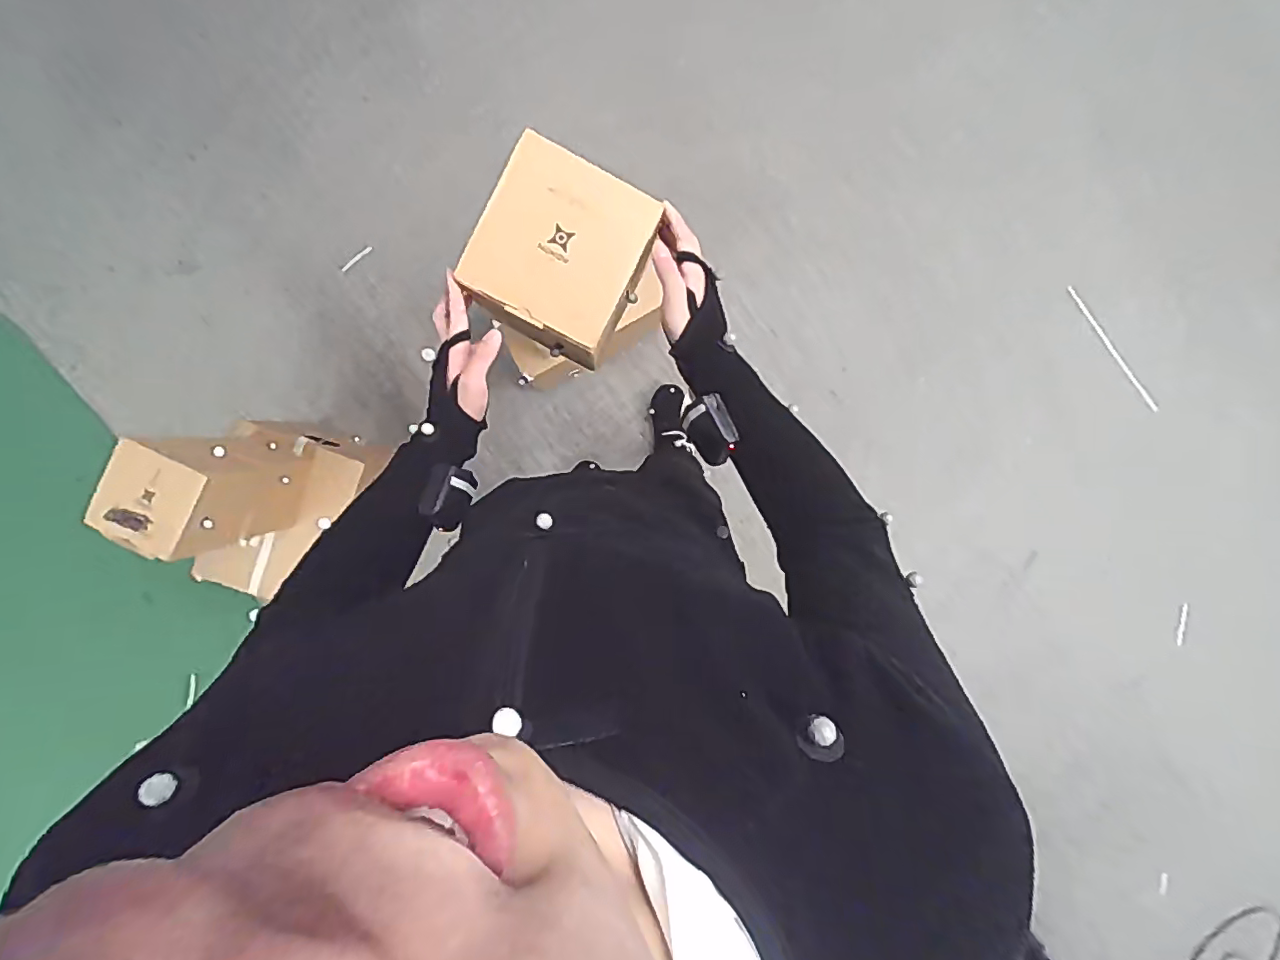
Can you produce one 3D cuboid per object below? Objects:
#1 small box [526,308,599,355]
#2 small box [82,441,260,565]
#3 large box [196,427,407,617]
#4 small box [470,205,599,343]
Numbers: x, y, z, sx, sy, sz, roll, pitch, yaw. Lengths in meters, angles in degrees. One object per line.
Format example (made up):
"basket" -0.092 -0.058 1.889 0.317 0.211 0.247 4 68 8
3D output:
"small box" -0.201 -0.393 1.204 0.168 0.176 0.179 -32 96 0
"small box" -0.885 0.037 1.040 0.168 0.176 0.179 26 92 -4
"large box" -0.881 0.090 1.456 0.320 0.320 0.408 19 94 -3
"small box" -0.191 -0.380 1.041 0.168 0.176 0.179 -33 95 1
